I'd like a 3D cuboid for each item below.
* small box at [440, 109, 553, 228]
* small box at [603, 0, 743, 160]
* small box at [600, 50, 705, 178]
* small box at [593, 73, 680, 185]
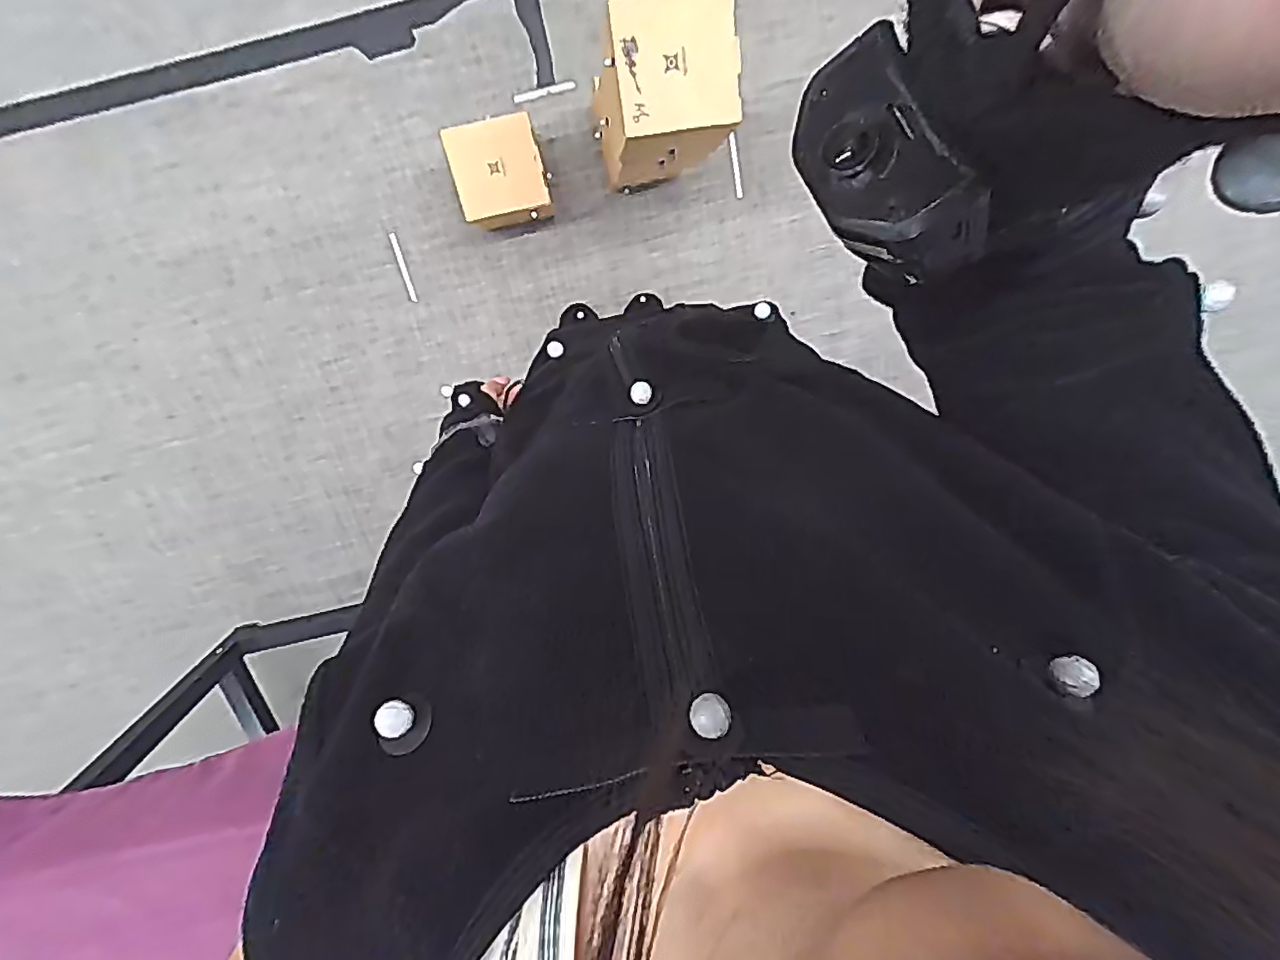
[{"bbox_3d":[-0.288,-0.639,1.129,0.179,0.176,0.168,-14,110,-2],"label":"small box"},{"bbox_3d":[0.045,-0.606,0.825,0.179,0.176,0.168,-10,110,-4],"label":"small box"},{"bbox_3d":[0.027,-0.664,0.978,0.179,0.176,0.168,-13,111,-3],"label":"small box"},{"bbox_3d":[0.002,-0.733,1.126,0.168,0.176,0.179,-15,110,-2],"label":"small box"}]
